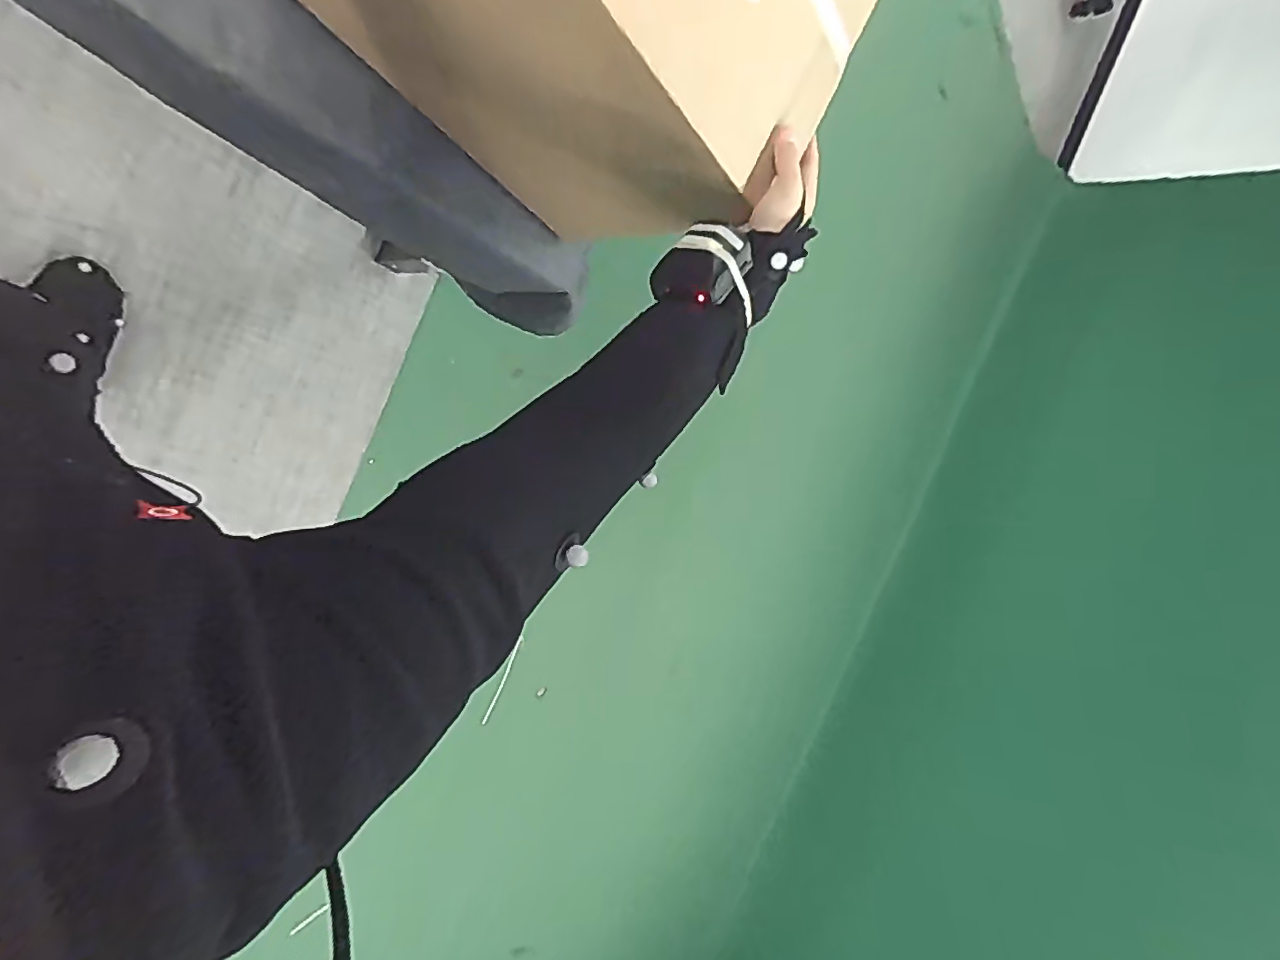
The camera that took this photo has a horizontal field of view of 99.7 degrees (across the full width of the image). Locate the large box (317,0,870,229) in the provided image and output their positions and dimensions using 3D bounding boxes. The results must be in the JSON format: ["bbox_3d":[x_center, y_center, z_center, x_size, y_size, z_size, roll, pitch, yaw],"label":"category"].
[{"bbox_3d":[-0.052,-0.471,0.437,0.408,0.320,0.320,29,87,-44],"label":"large box"}]
